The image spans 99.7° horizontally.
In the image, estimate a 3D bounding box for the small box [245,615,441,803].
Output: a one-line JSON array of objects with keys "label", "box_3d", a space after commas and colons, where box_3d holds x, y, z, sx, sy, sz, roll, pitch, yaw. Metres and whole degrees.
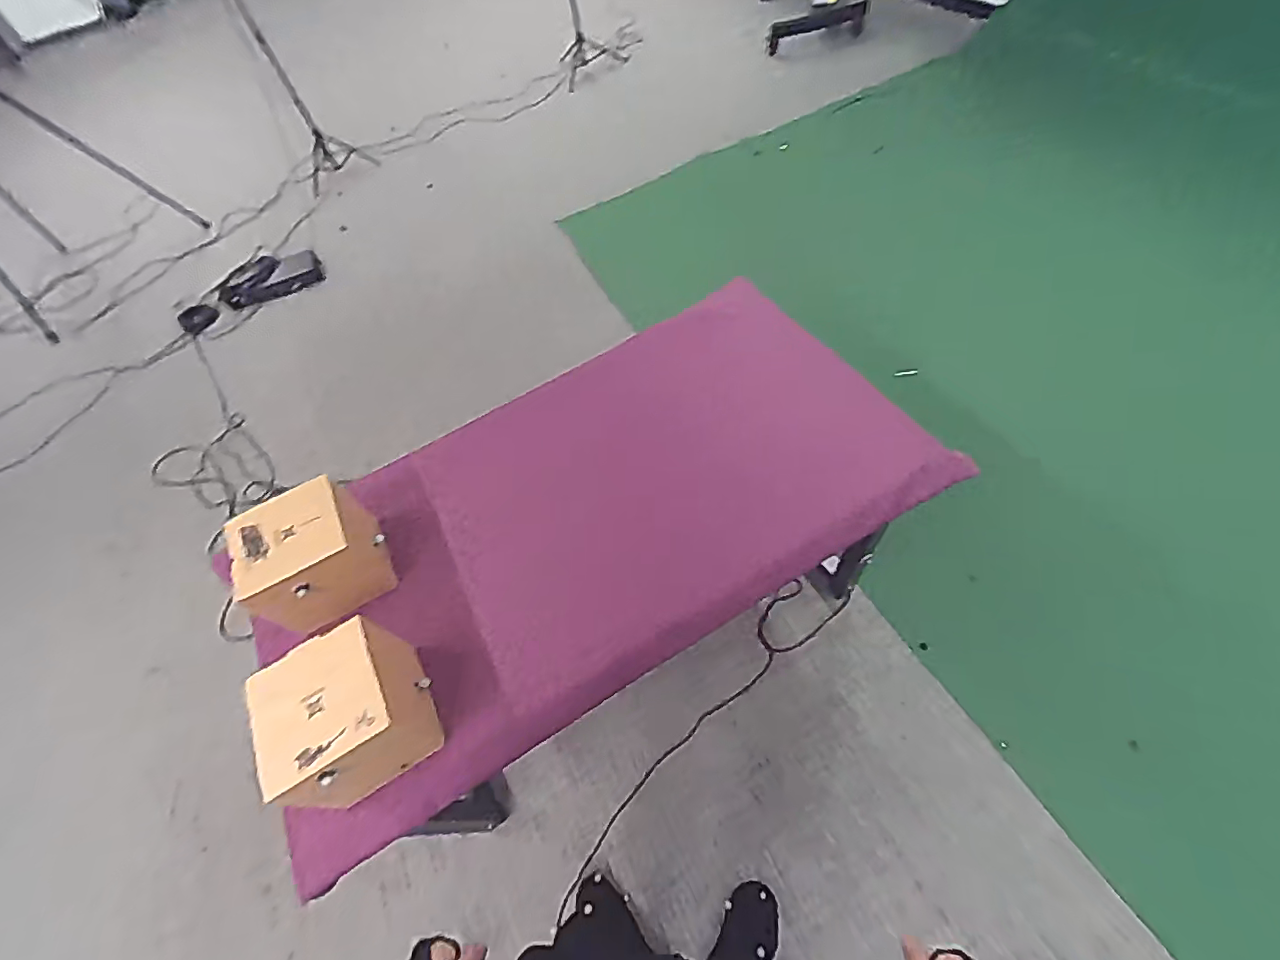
[{"label": "small box", "box_3d": [-0.414, 0.330, 0.769, 0.168, 0.176, 0.179, -31, 58, -10]}]

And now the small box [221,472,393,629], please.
[{"label": "small box", "box_3d": [-0.557, 0.126, 0.918, 0.179, 0.176, 0.168, -29, 59, -11]}]
